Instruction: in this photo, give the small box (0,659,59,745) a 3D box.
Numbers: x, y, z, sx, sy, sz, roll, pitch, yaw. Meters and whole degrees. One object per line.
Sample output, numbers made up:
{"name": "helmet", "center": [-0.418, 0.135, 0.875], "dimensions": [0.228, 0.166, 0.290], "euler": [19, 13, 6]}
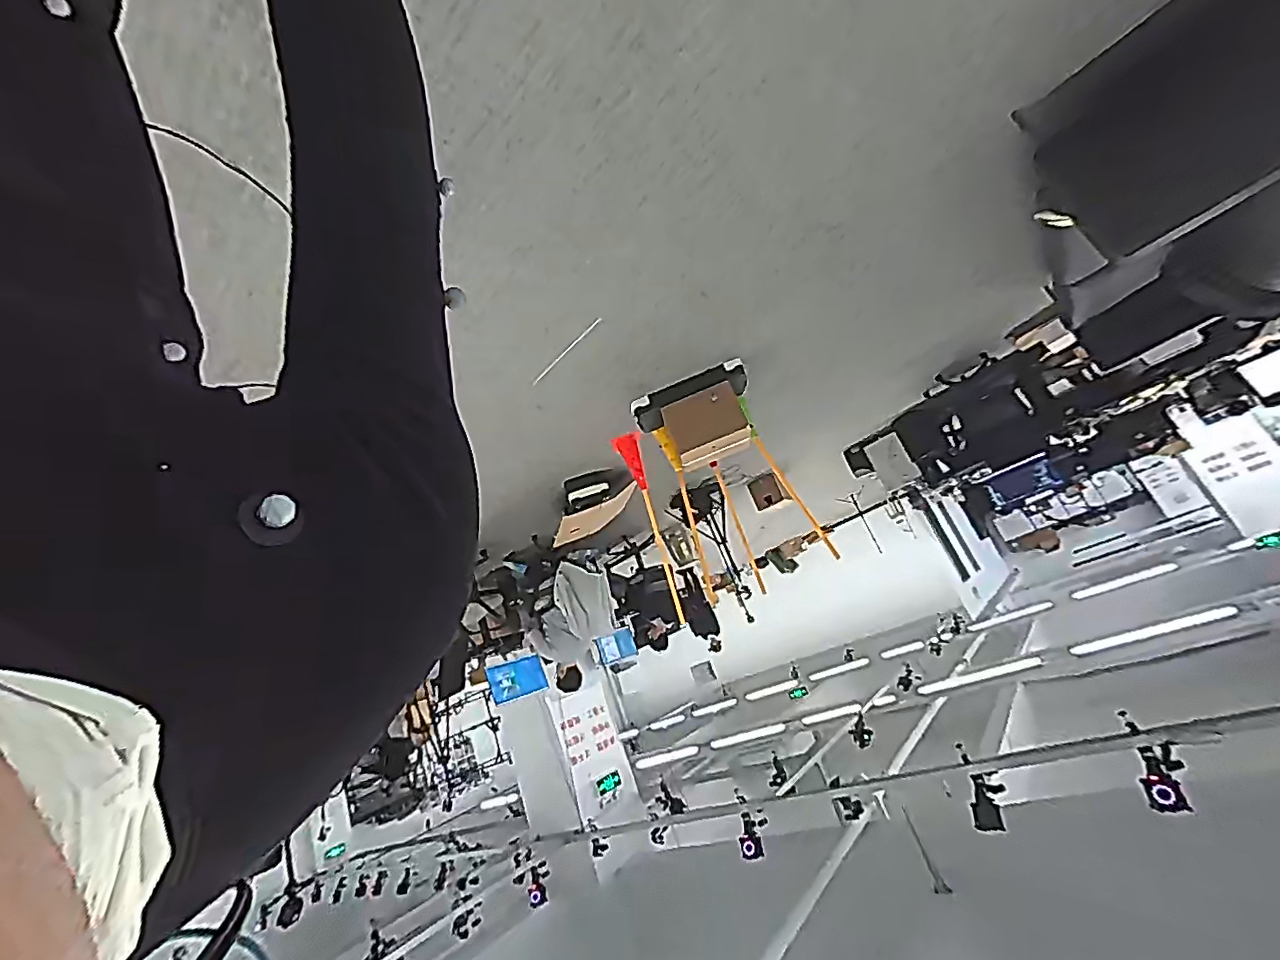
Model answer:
{"name": "small box", "center": [-1.667, 0.587, 1.412], "dimensions": [0.168, 0.176, 0.179], "euler": [-31, 160, 26]}
